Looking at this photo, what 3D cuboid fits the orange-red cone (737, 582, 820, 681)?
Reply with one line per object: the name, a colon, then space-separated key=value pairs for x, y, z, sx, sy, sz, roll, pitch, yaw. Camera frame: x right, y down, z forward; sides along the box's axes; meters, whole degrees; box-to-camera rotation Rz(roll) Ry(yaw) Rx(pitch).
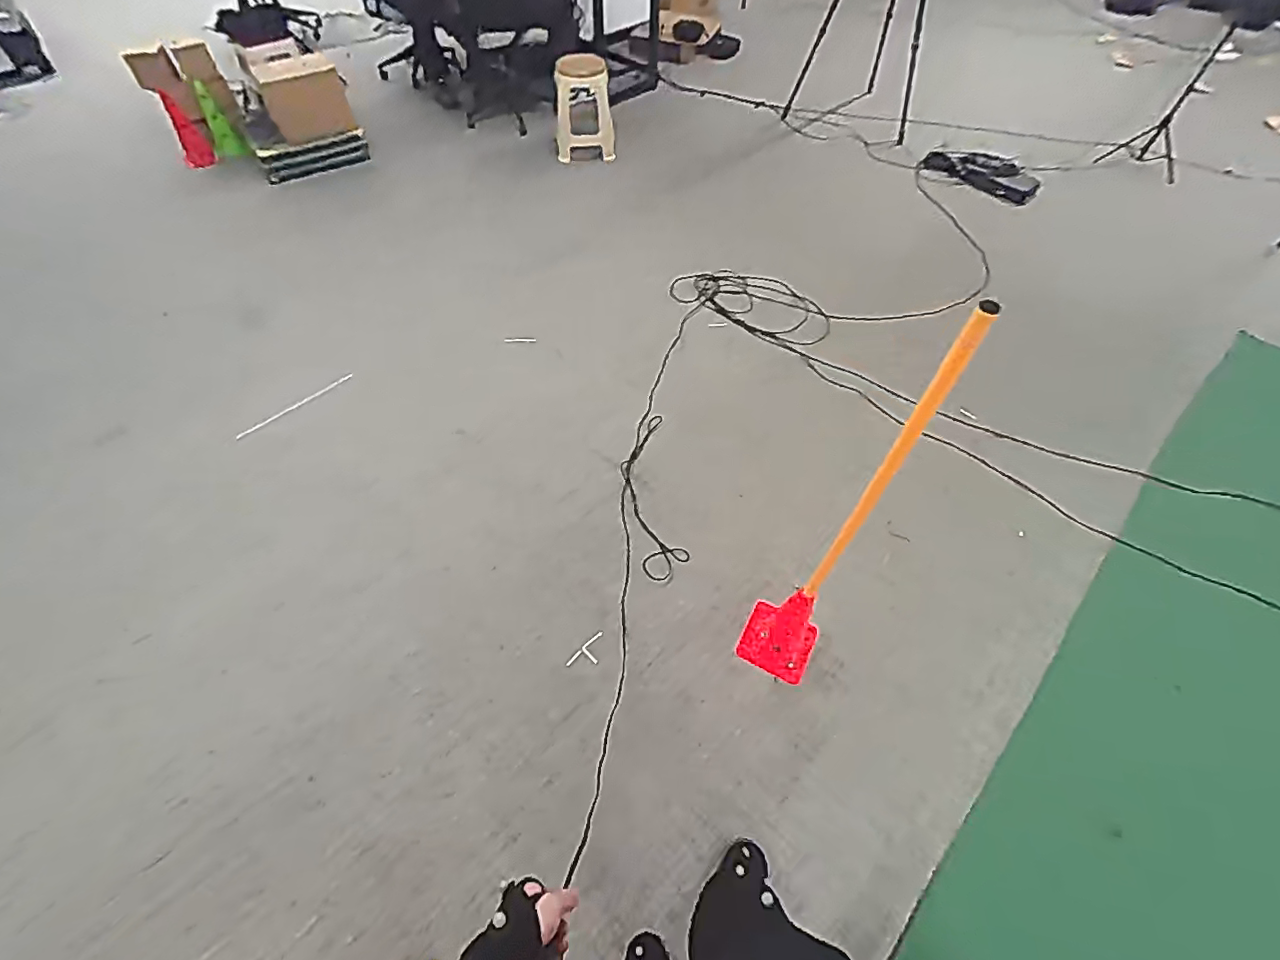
orange-red cone: x=0.412 y=0.366 z=1.456 sx=0.198 sy=0.360 sz=0.199 roll=26 pitch=57 yaw=16
